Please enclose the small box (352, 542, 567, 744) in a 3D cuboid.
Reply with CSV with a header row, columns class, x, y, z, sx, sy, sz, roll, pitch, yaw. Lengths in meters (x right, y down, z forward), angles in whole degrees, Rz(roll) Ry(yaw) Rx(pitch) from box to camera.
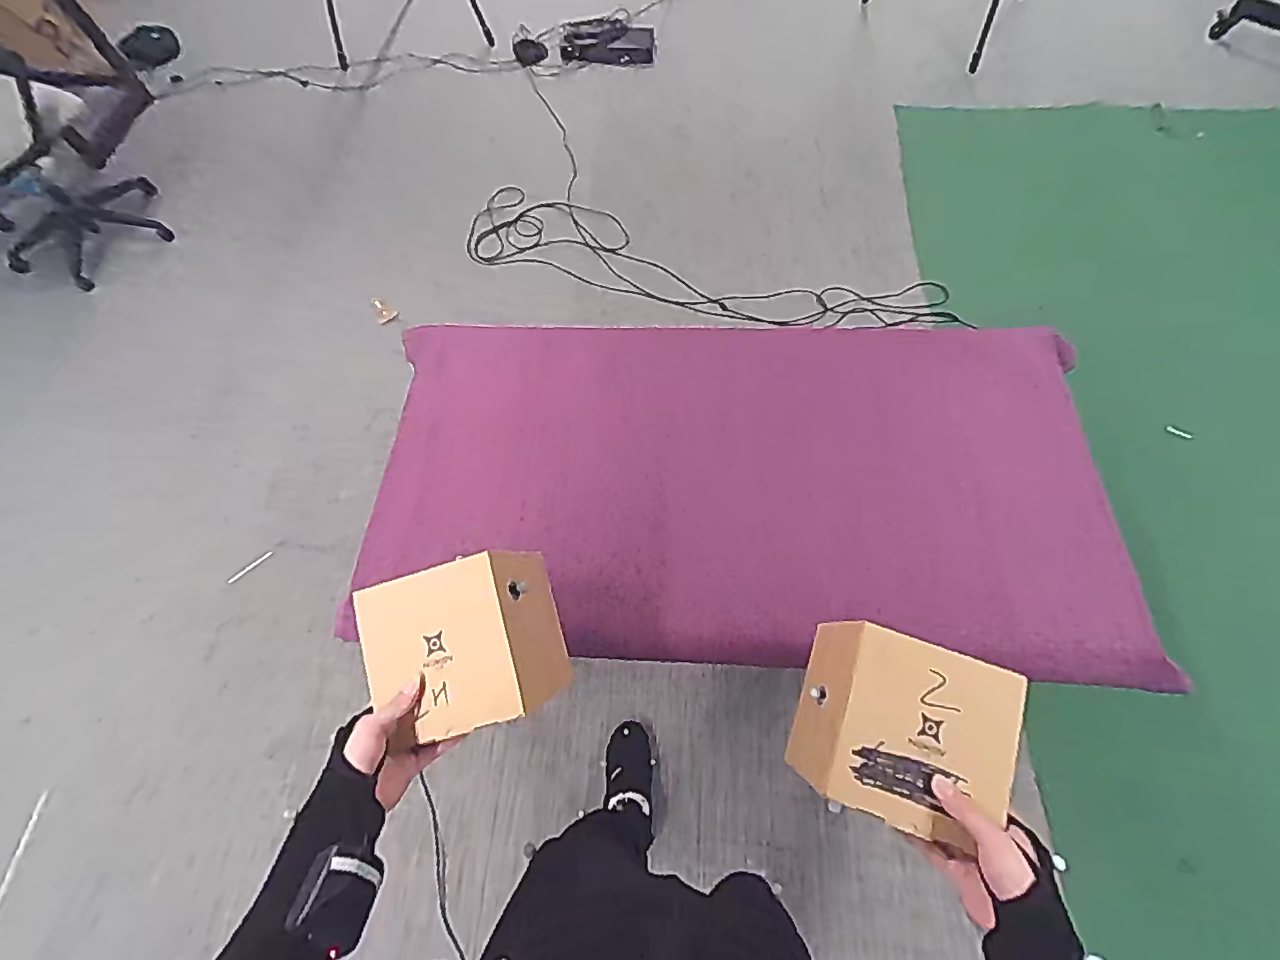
class,x,y,z,sx,sy,sz,roll,pitch,yaw
small box,-0.201,0.180,0.639,0.168,0.176,0.179,-17,80,7
